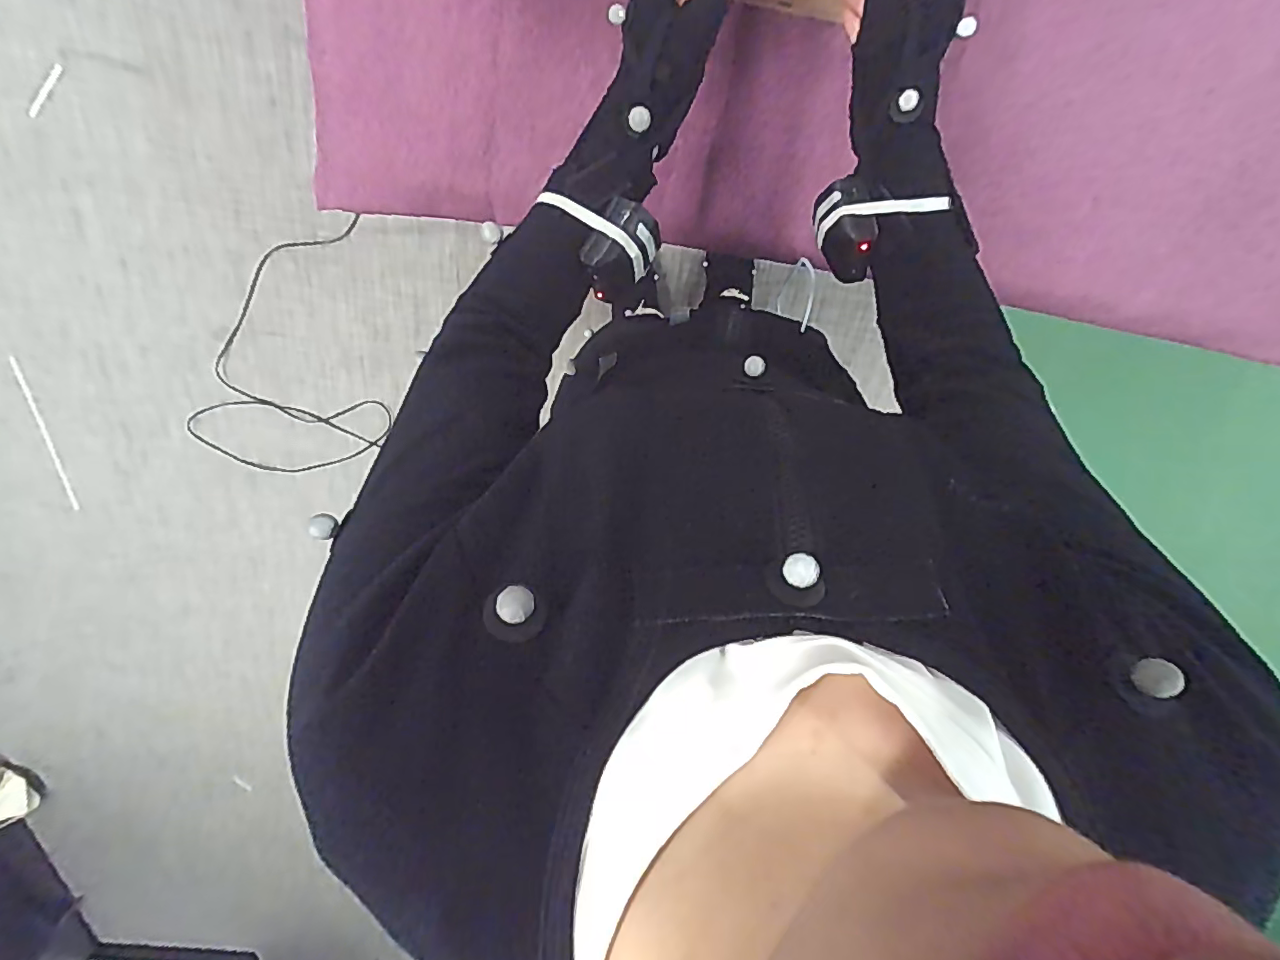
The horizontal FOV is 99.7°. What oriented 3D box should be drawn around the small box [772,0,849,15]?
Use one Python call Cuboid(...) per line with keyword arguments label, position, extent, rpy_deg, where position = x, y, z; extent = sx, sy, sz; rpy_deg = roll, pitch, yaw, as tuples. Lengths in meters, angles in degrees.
Cuboid(label="small box", position=(0.128, -0.502, 0.416), extent=(0.168, 0.176, 0.179), rpy_deg=(9, 116, -4))
